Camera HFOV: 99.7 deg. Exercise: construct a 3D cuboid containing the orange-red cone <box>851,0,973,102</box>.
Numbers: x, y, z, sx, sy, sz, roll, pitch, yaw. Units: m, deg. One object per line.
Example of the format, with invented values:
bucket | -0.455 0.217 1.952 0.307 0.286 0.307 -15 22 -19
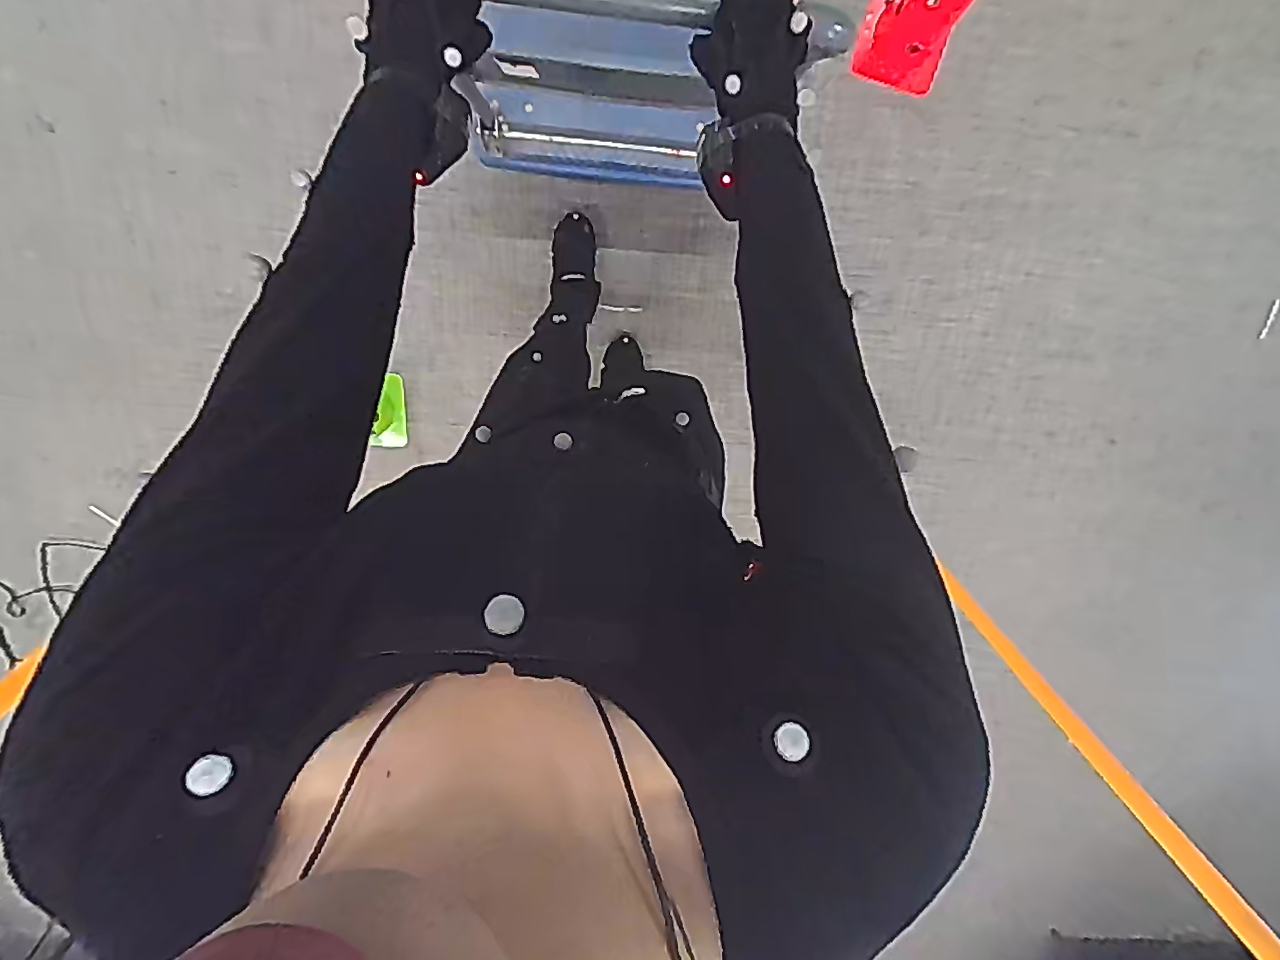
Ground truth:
orange-red cone | 0.604 -0.942 1.069 0.198 0.360 0.199 15 107 -6
